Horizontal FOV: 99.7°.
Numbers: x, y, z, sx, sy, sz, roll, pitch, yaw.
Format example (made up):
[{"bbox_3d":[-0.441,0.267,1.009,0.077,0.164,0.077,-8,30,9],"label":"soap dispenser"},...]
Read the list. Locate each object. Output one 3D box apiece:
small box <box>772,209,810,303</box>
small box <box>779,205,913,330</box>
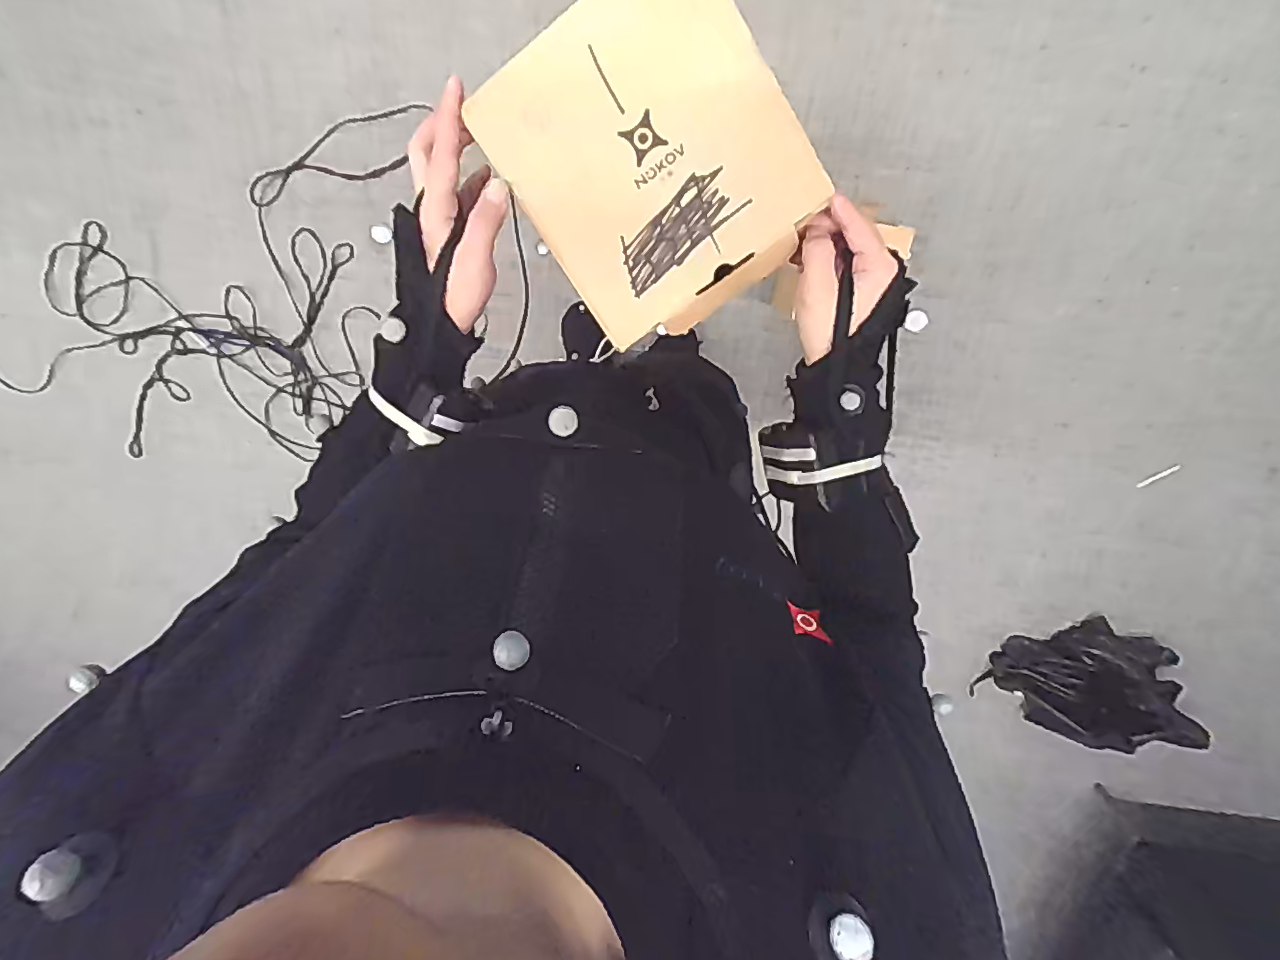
[{"bbox_3d":[0.385,-0.450,1.135,0.168,0.176,0.179,10,110,1],"label":"small box"},{"bbox_3d":[0.360,-0.383,0.987,0.168,0.176,0.179,10,110,1],"label":"small box"}]
